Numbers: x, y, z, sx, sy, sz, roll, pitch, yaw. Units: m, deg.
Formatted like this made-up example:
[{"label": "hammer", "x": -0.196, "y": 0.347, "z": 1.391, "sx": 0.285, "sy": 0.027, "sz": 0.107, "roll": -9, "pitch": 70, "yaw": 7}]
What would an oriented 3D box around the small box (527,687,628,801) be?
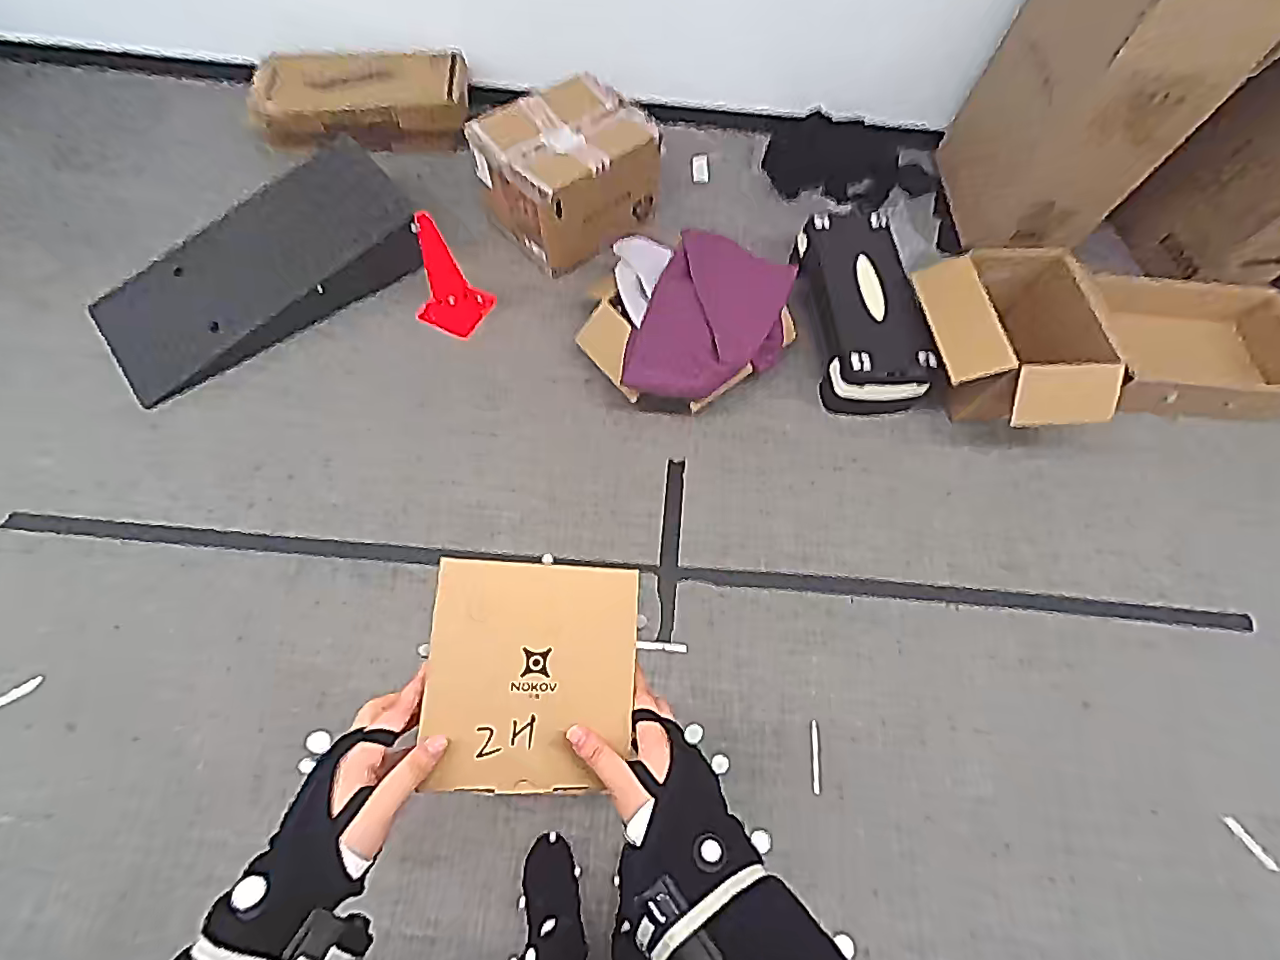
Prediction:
[{"label": "small box", "x": -0.112, "y": 0.507, "z": 1.050, "sx": 0.168, "sy": 0.176, "sz": 0.179, "roll": 5, "pitch": 65, "yaw": 0}]
